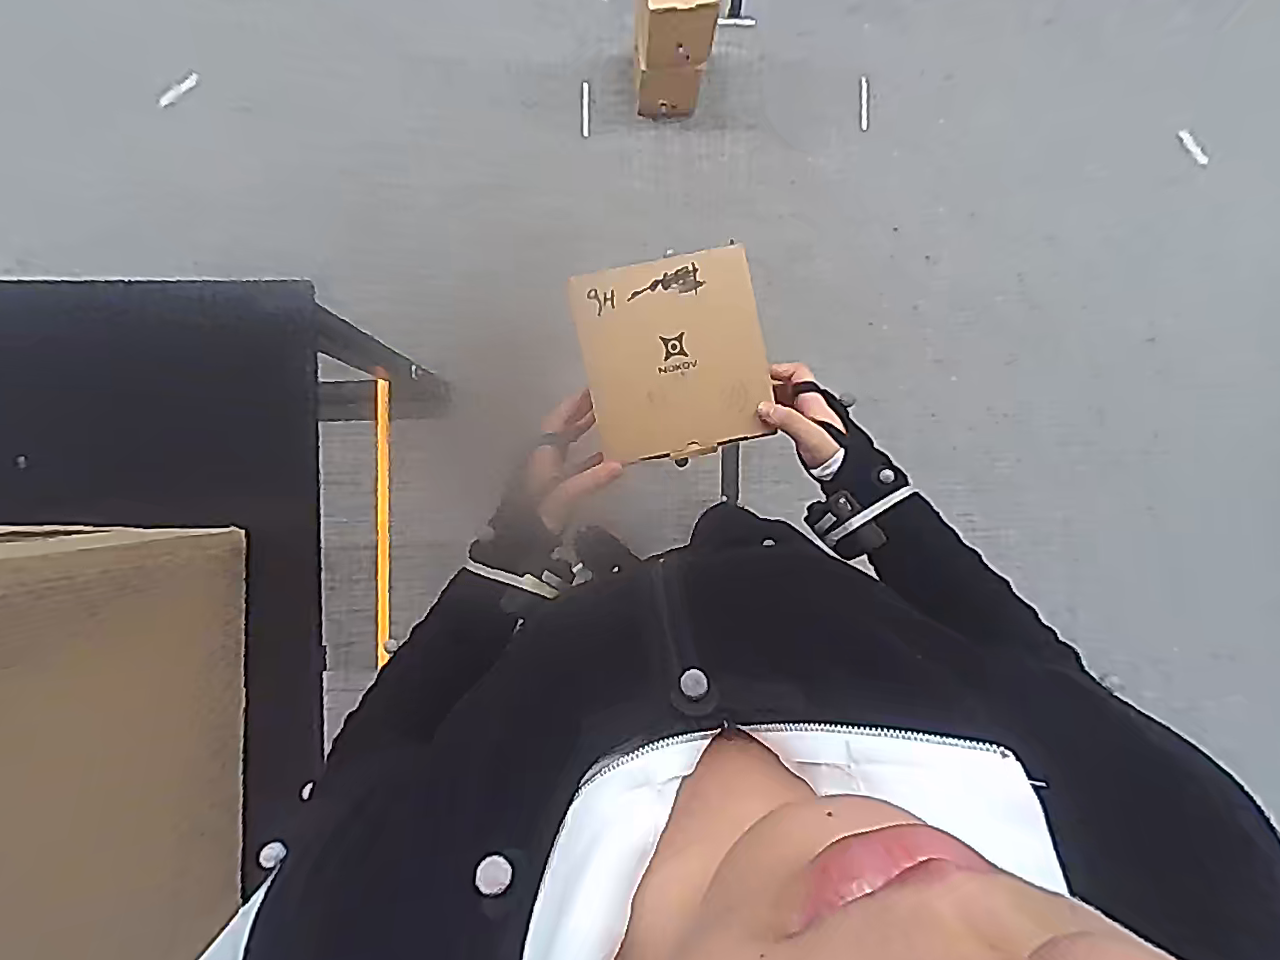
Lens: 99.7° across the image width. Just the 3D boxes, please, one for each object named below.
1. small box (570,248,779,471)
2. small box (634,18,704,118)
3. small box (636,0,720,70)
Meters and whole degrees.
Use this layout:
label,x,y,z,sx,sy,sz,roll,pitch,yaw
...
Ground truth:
label,x,y,z,sx,sy,sz,roll,pitch,yaw
small box,0.029,-0.114,0.565,0.168,0.176,0.179,-12,95,-3
small box,0.073,-1.109,1.445,0.168,0.176,0.179,-4,90,-2
small box,0.084,-1.125,1.280,0.168,0.176,0.179,-9,90,-2
